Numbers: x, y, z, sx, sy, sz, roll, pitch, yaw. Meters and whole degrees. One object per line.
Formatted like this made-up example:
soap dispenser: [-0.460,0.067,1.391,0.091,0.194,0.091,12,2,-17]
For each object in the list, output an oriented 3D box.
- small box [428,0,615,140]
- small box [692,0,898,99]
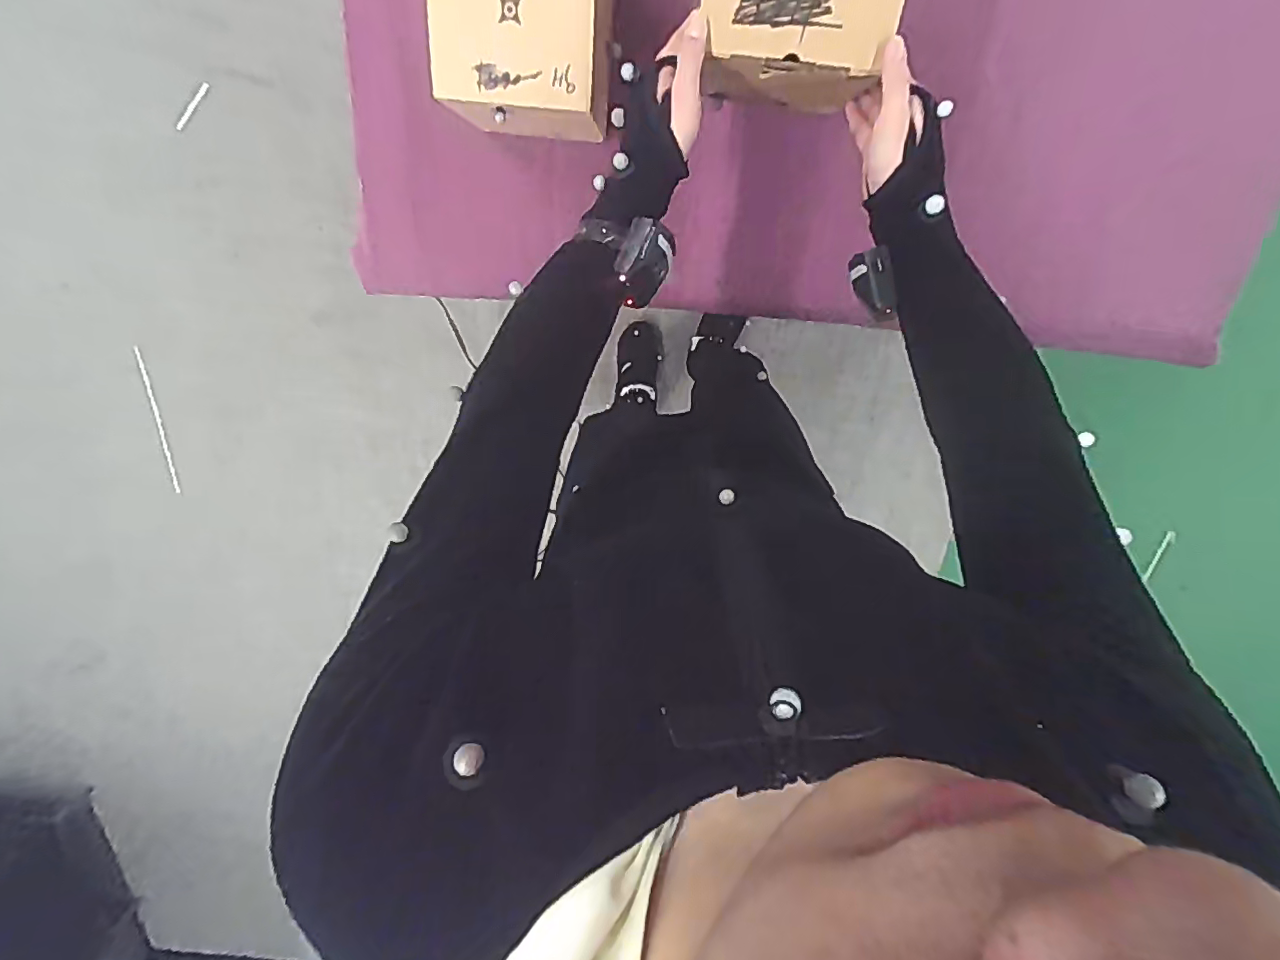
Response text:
small box: [-0.120,-0.500,0.594,0.168,0.176,0.179,6,113,1]
small box: [0.141,-0.474,0.495,0.168,0.176,0.179,7,114,0]
